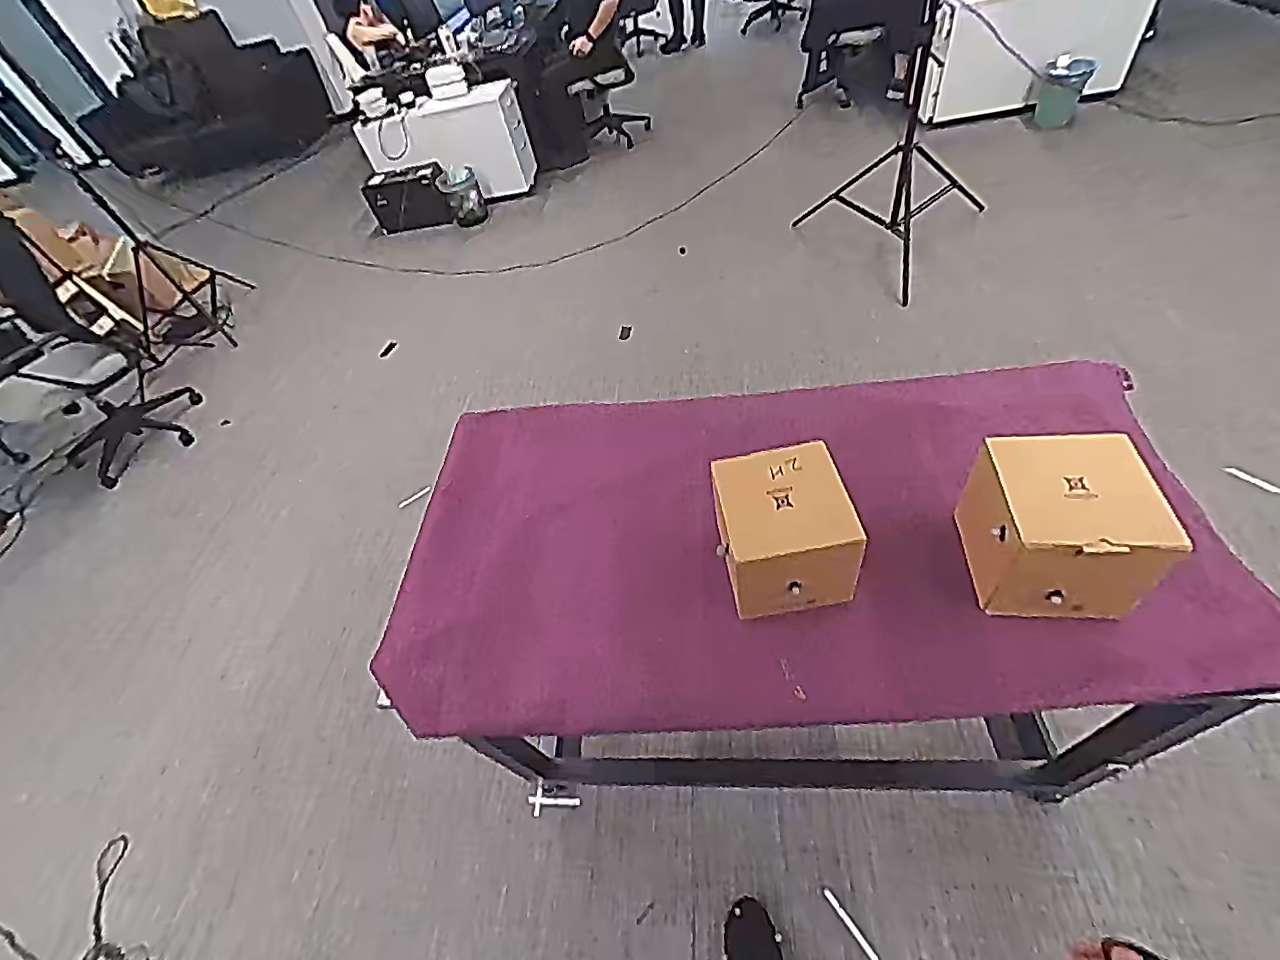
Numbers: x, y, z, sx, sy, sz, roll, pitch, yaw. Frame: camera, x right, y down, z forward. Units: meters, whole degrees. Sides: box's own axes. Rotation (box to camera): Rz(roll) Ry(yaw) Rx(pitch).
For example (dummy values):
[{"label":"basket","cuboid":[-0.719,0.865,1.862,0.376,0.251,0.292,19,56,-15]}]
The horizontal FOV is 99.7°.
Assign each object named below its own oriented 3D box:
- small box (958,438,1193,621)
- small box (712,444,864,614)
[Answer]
[{"label":"small box","cuboid":[0.544,0.064,0.712,0.168,0.176,0.179,-1,49,13]},{"label":"small box","cuboid":[0.206,0.079,0.783,0.168,0.176,0.179,-11,48,4]}]
